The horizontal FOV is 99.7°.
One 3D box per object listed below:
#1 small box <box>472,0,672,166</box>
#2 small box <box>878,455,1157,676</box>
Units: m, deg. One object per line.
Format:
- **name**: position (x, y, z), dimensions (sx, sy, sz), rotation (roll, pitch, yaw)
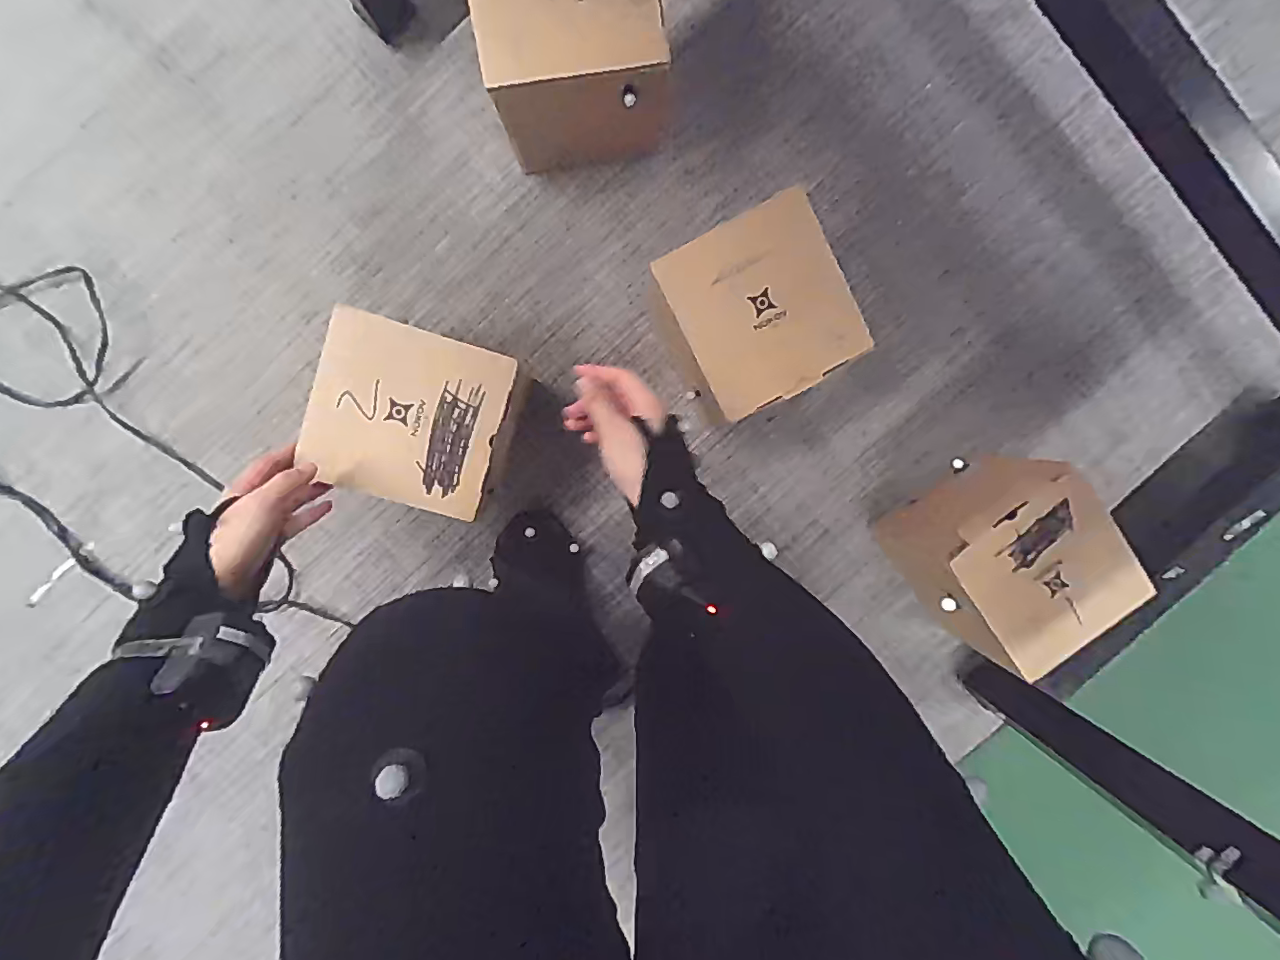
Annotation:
- **small box**: position (-0.070, -0.459, 0.568), dimensions (0.179, 0.176, 0.168), rotation (-10, 95, -2)
- **small box**: position (0.419, 0.084, 0.634), dimensions (0.168, 0.176, 0.179), rotation (-35, 95, 2)
